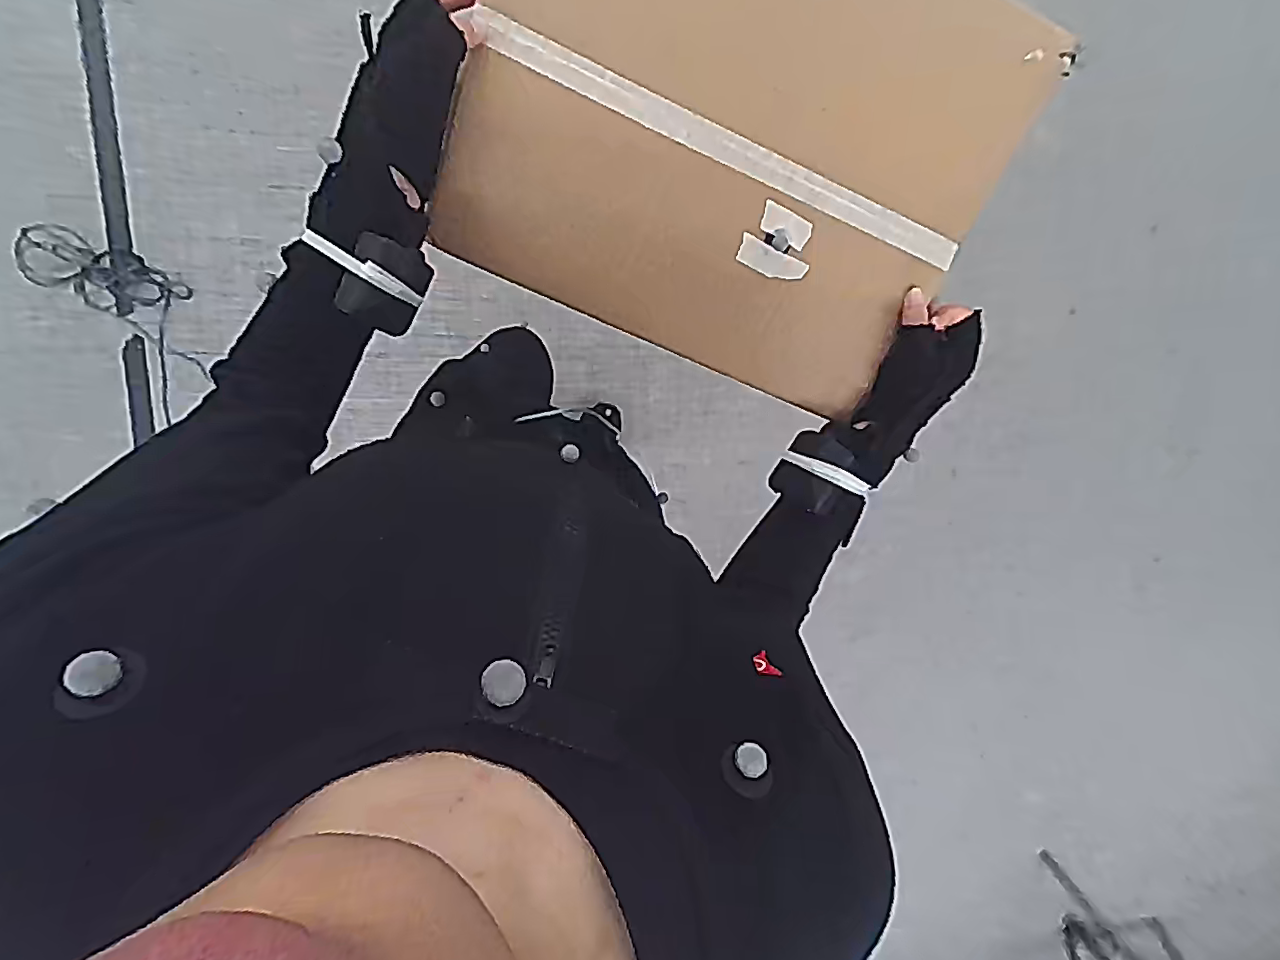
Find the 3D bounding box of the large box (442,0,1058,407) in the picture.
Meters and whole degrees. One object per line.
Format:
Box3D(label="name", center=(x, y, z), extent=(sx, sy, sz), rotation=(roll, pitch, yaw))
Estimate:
Box3D(label="large box", center=(0.070, -0.322, 0.561), extent=(0.408, 0.320, 0.320), rotation=(21, 113, -9))
